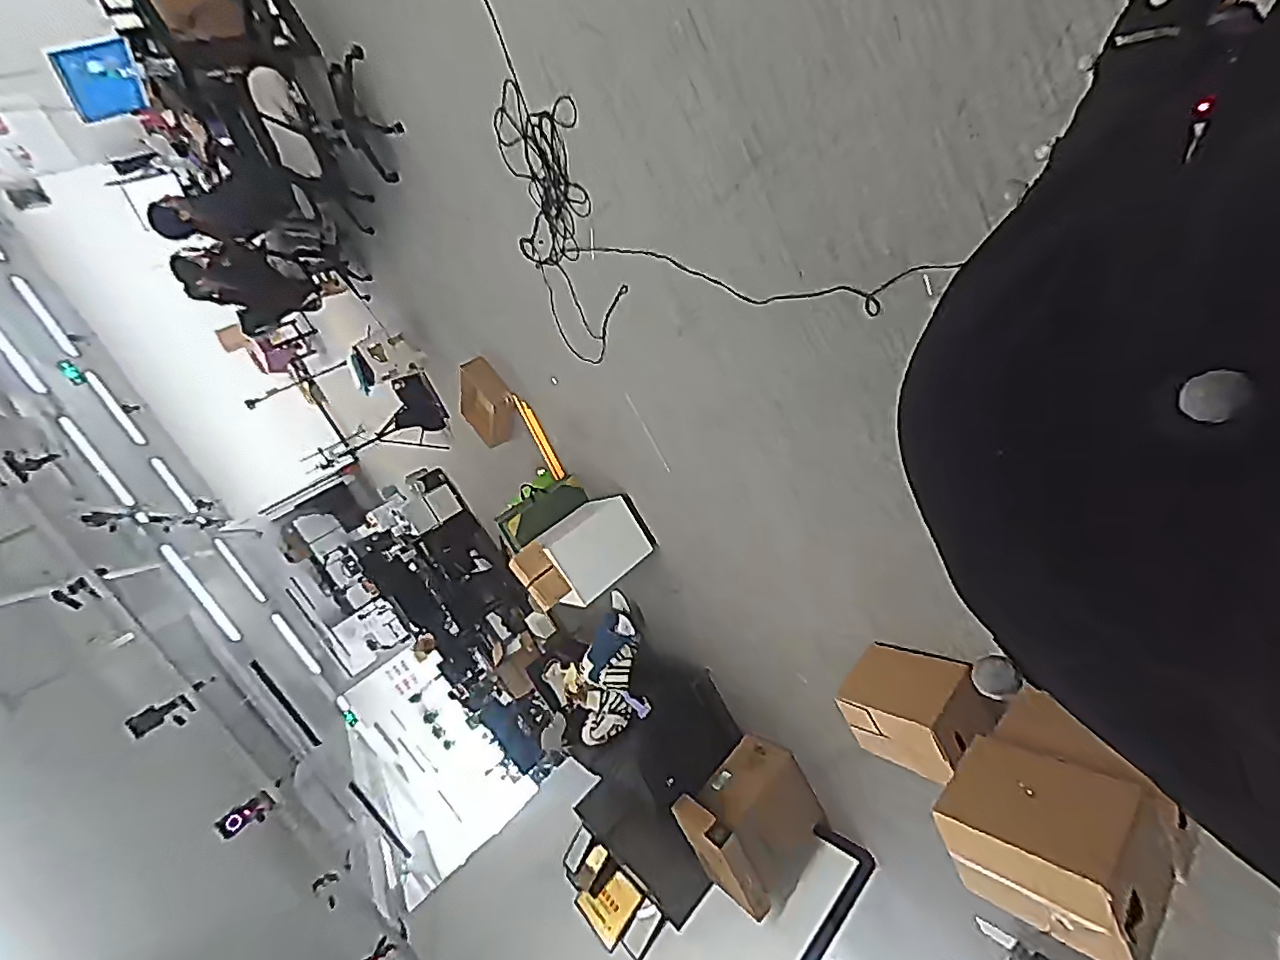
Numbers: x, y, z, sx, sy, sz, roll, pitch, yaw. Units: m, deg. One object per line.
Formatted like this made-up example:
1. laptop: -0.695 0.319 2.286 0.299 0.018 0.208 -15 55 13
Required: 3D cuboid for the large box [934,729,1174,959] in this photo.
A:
1. large box: 1.111 0.952 1.469 0.408 0.320 0.320 -10 111 58
